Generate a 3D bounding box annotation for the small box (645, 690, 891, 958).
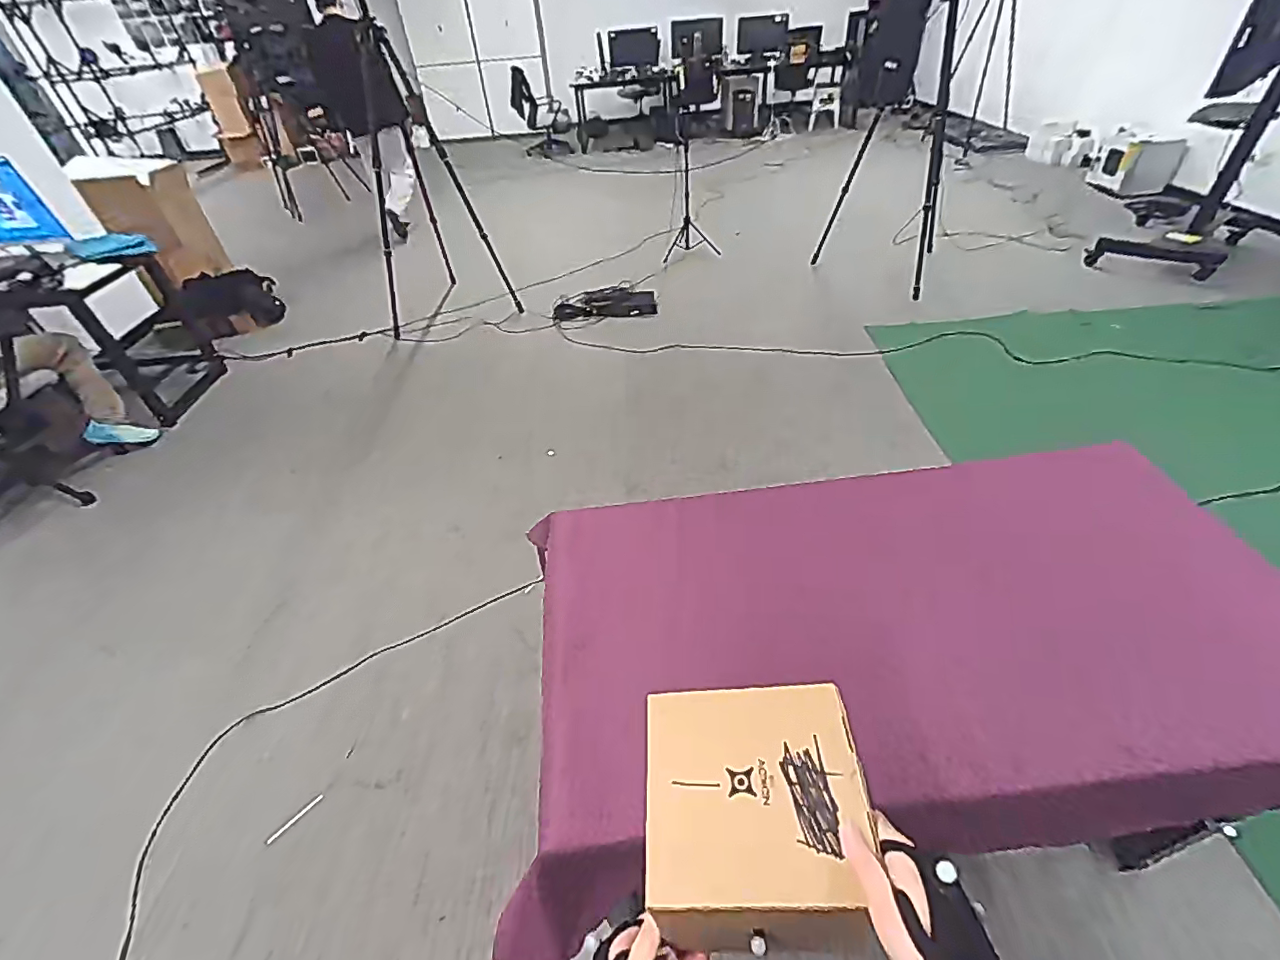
[{"bbox_3d":[0.105,0.313,0.495,0.179,0.176,0.168,-6,39,8],"label":"small box"}]
